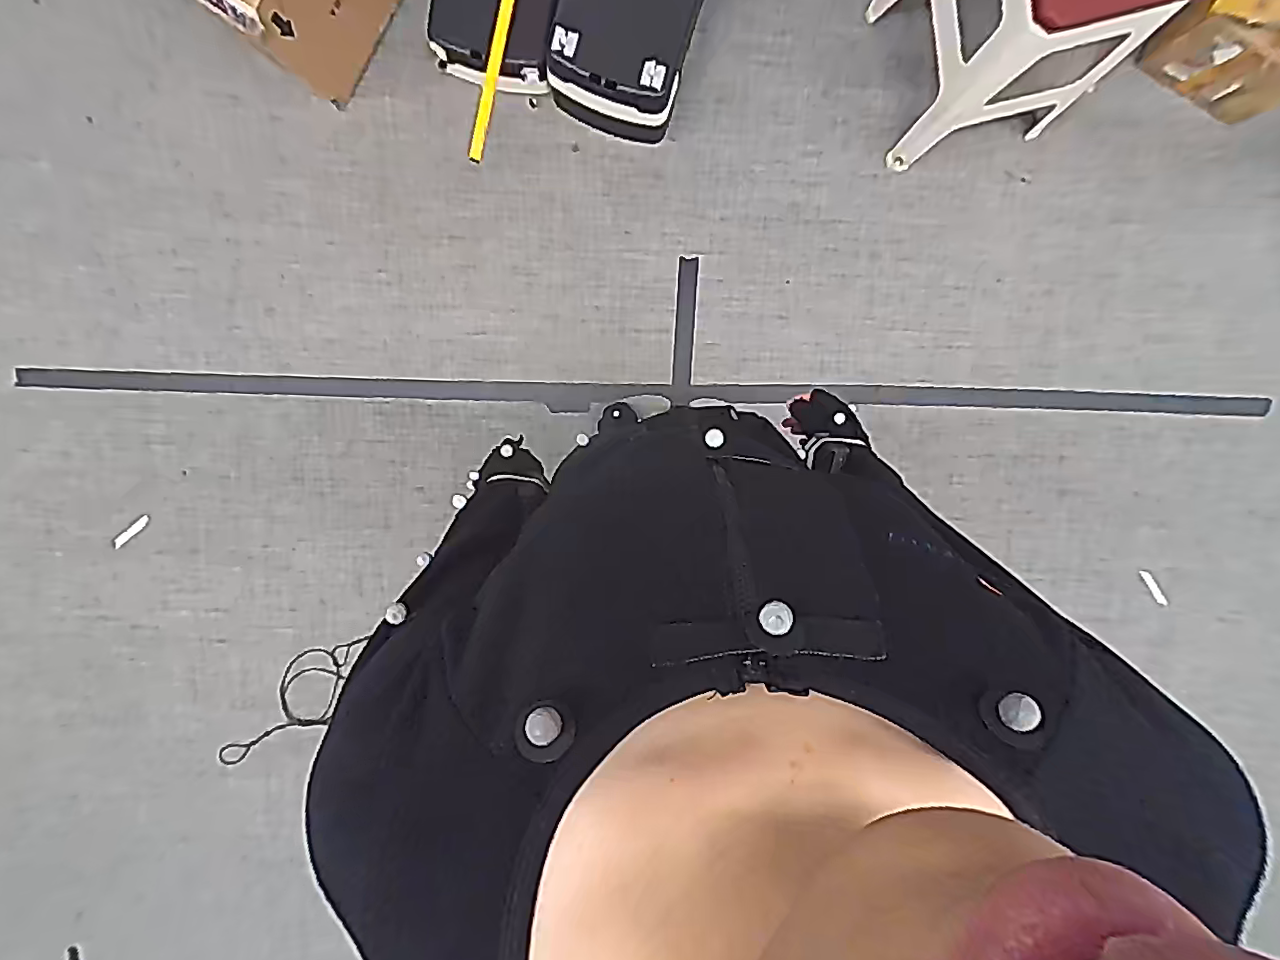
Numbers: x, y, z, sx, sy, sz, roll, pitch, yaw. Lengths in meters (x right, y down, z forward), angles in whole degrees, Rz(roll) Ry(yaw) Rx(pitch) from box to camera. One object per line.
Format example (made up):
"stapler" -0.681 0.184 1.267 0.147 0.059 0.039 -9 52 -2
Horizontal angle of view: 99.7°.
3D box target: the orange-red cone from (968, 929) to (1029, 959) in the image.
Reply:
"orange-red cone" 1.164 1.570 1.585 0.198 0.360 0.199 -2 99 0
